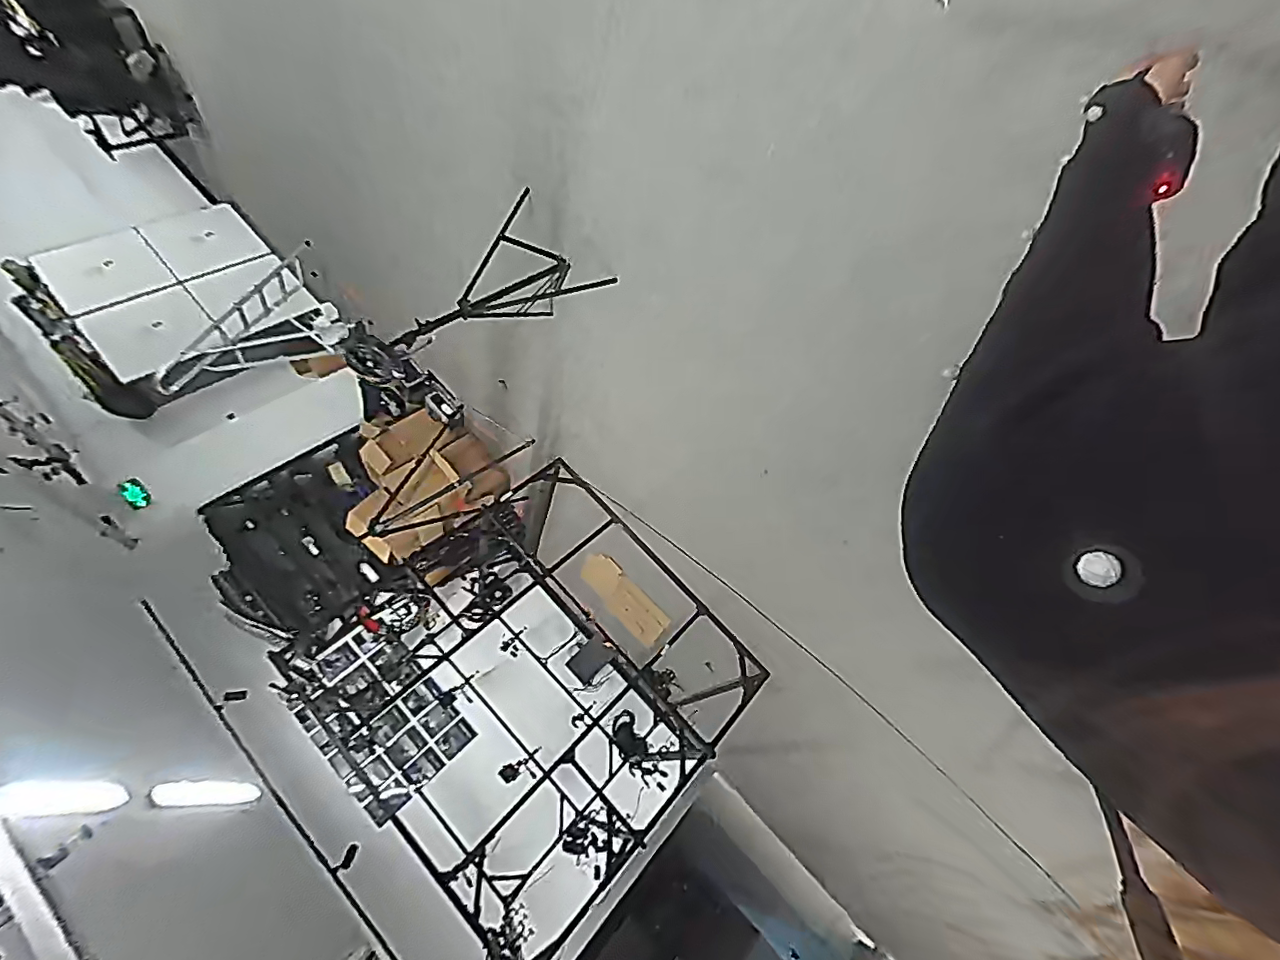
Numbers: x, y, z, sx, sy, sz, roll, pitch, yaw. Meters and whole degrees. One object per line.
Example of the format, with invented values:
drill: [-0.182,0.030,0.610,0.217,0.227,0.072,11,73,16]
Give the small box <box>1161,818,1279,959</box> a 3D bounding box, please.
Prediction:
small box: [1.031,0.696,0.889,0.179,0.176,0.168,45,152,9]
